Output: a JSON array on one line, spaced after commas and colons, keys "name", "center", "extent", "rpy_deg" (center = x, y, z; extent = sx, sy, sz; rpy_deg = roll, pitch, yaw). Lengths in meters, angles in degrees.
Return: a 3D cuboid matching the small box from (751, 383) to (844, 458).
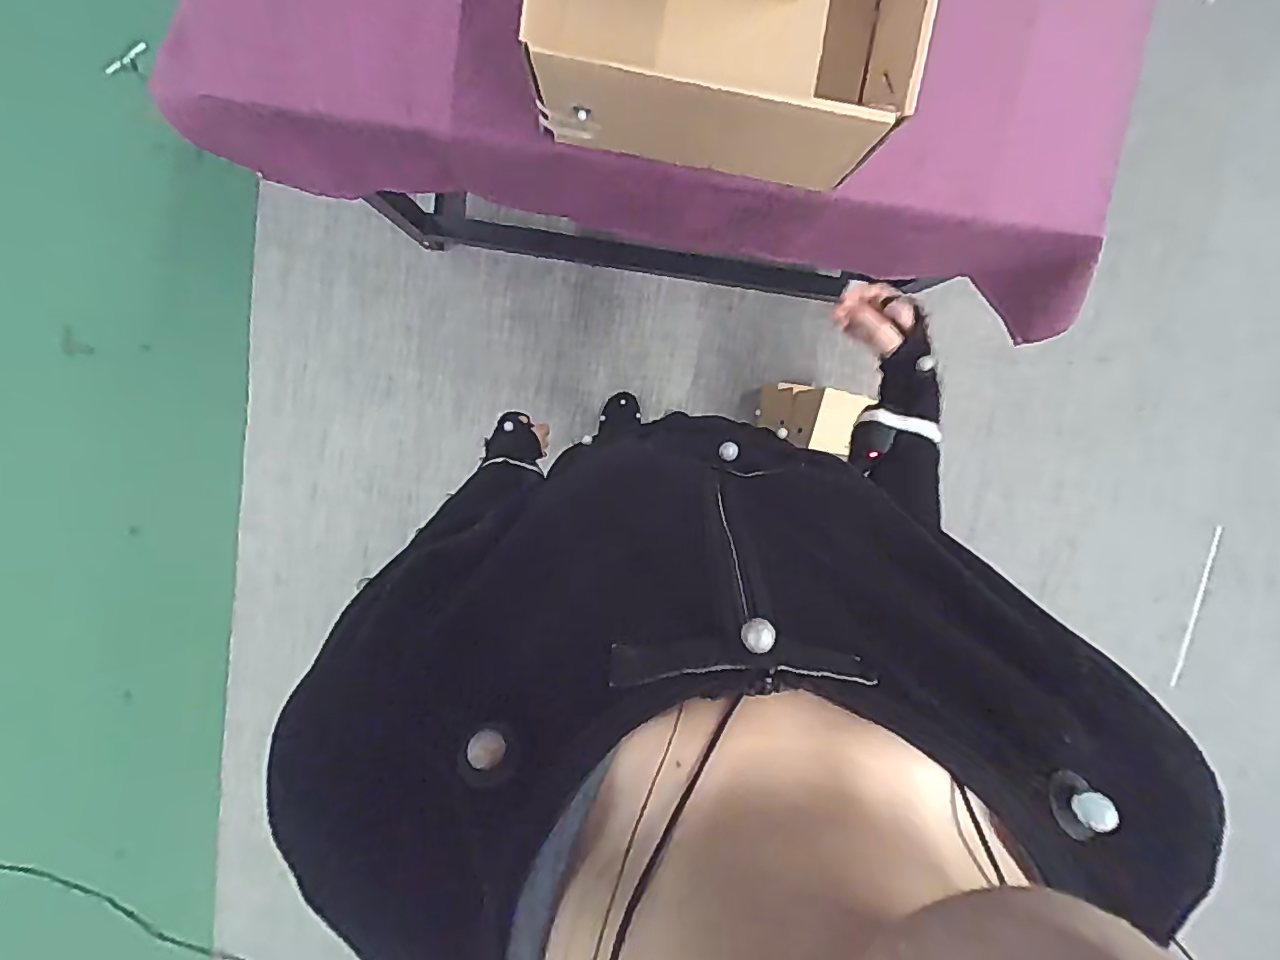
[{"name": "small box", "center": [0.403, -0.157, 1.410], "extent": [0.179, 0.176, 0.168], "rpy_deg": [7, 97, -1]}]
